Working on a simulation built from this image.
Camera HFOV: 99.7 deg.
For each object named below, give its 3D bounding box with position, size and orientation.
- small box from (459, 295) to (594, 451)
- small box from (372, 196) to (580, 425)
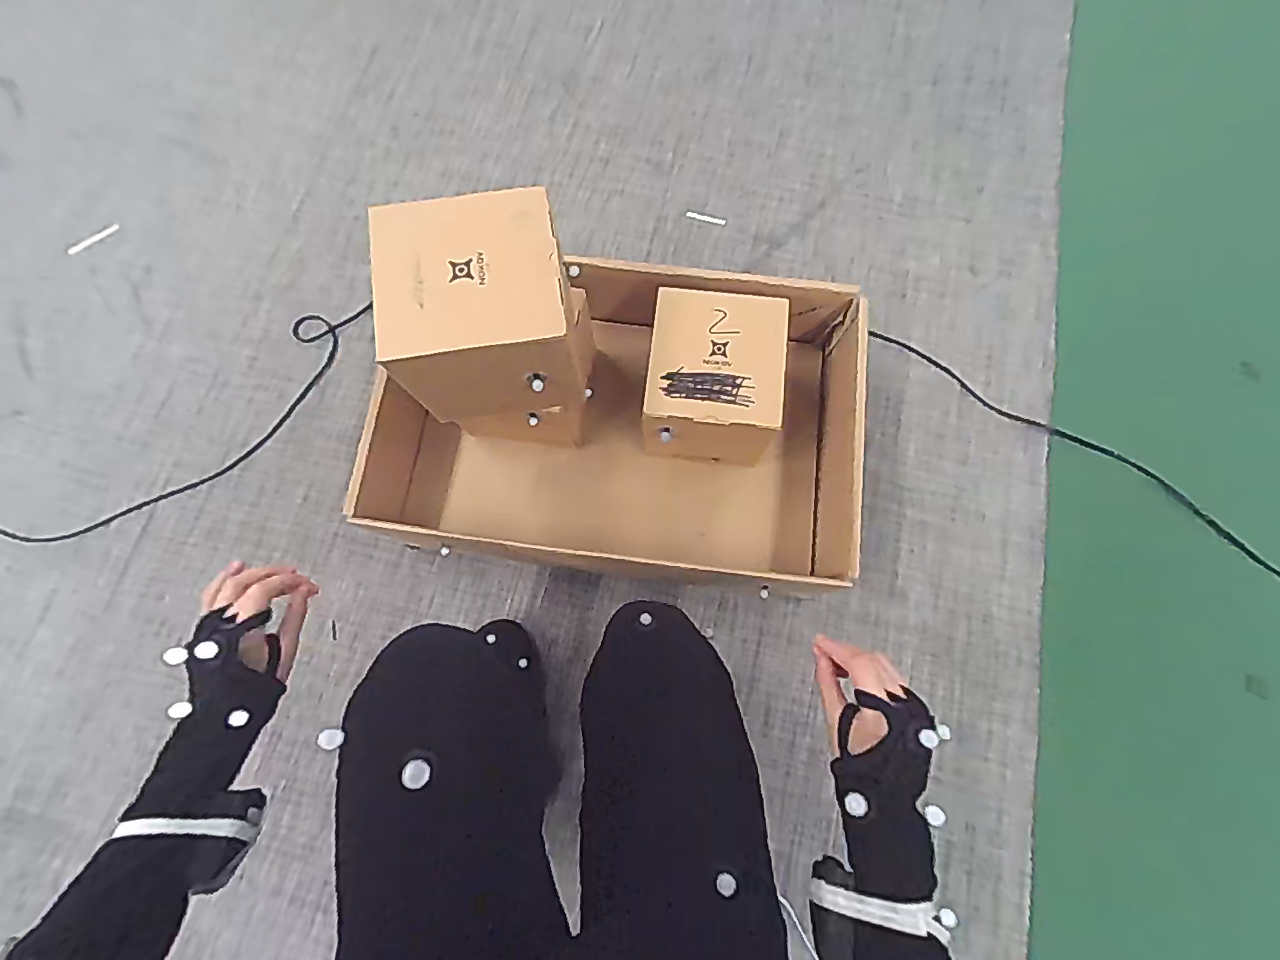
[{"bbox_3d":[-0.167,-0.148,0.747,0.179,0.176,0.168,8,77,1],"label":"small box"},{"bbox_3d":[-0.162,-0.170,0.585,0.179,0.176,0.168,-8,77,-1],"label":"small box"}]
